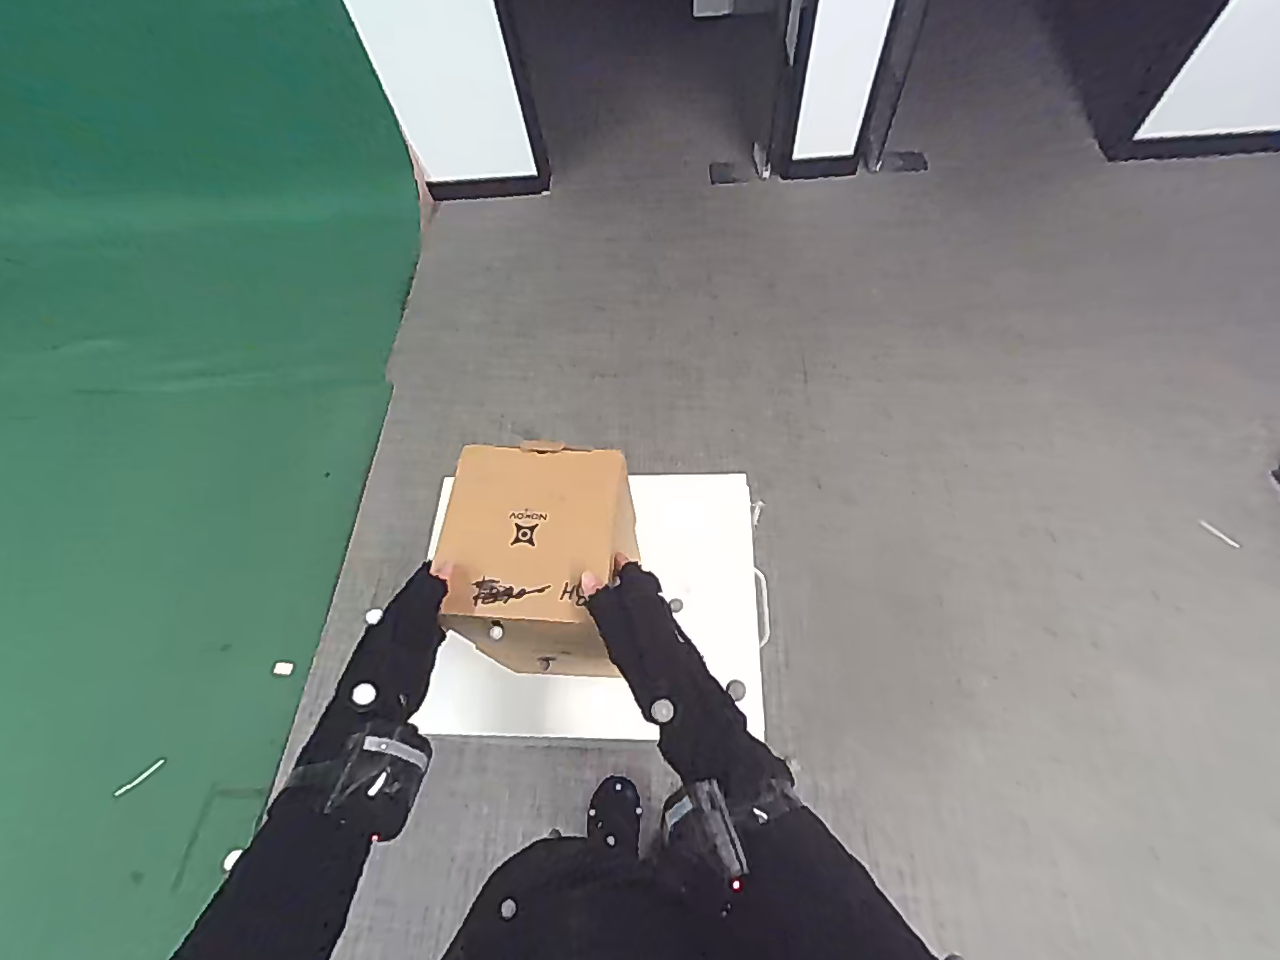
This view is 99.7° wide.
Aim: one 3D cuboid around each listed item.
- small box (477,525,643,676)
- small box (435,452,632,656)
[{"bbox_3d":[-0.093,0.164,0.728,0.179,0.176,0.168,1,62,5],"label":"small box"},{"bbox_3d":[-0.097,0.085,0.589,0.168,0.176,0.179,0,64,3],"label":"small box"}]
